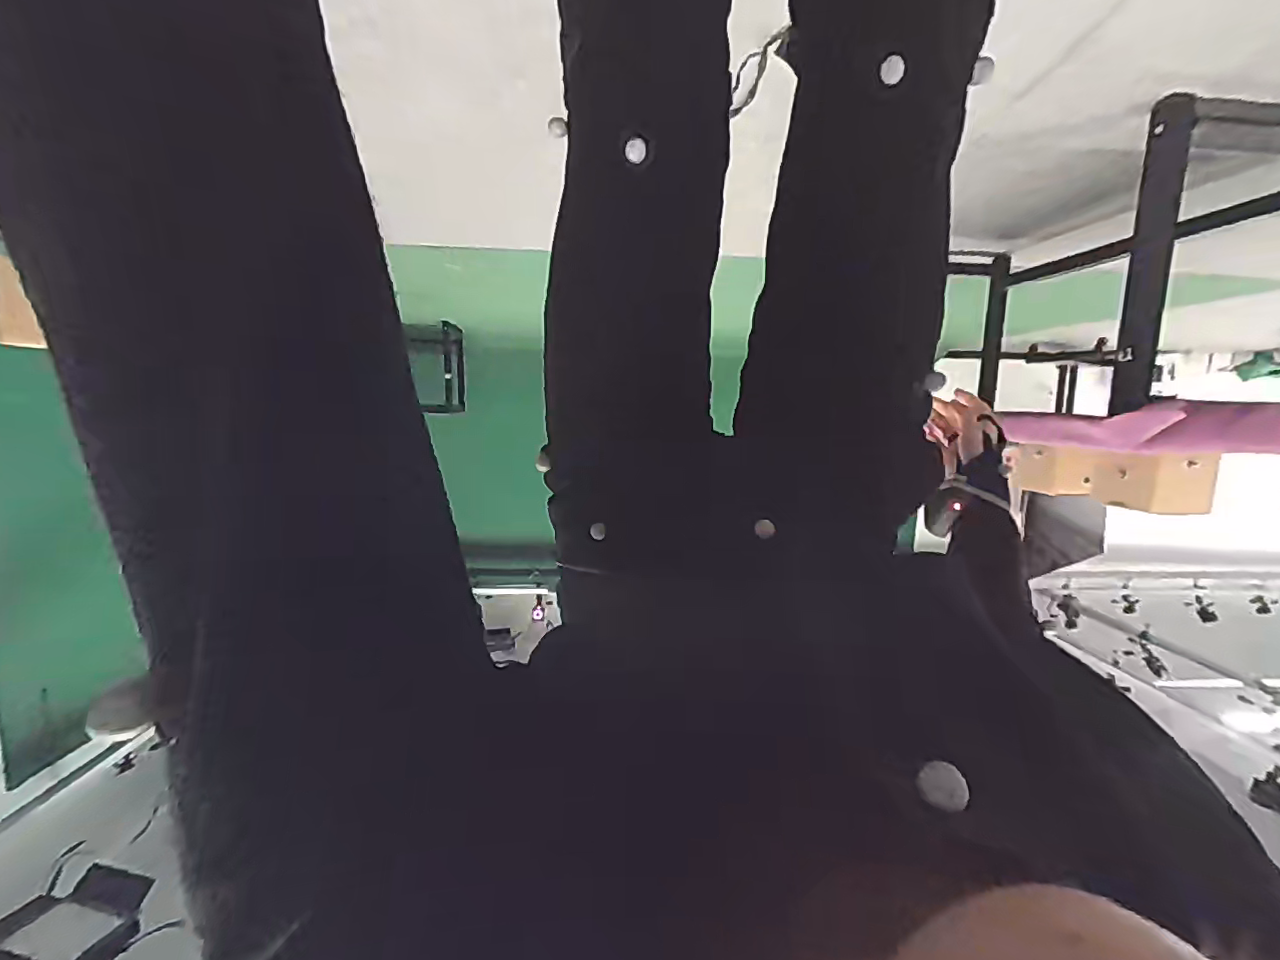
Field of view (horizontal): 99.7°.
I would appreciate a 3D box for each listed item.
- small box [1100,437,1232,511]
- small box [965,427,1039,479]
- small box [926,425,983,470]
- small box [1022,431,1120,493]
[{"bbox_3d":[1.338,-0.021,1.381,0.179,0.176,0.168,1,-172,-6],"label":"small box"},{"bbox_3d":[1.284,-0.097,1.901,0.168,0.176,0.179,1,-172,-8],"label":"small box"},{"bbox_3d":[1.254,-0.133,2.155,0.168,0.176,0.179,3,-172,16],"label":"small box"},{"bbox_3d":[1.316,-0.059,1.646,0.179,0.176,0.168,2,-172,-1],"label":"small box"}]
